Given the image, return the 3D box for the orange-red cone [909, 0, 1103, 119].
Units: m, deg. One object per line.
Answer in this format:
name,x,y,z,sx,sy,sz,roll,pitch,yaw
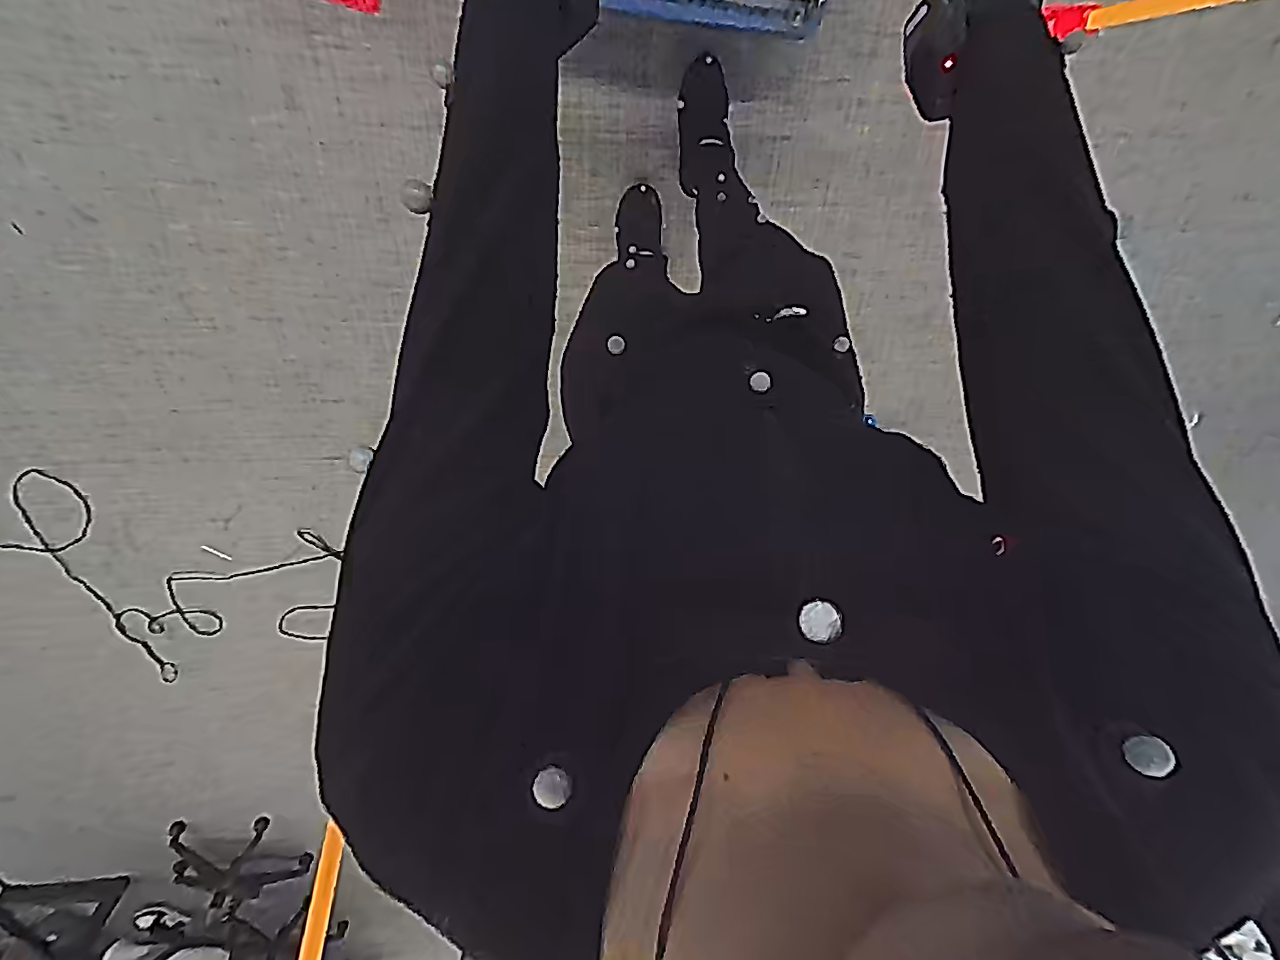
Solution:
orange-red cone,0.708,-0.815,1.008,0.198,0.360,0.199,9,121,-9
